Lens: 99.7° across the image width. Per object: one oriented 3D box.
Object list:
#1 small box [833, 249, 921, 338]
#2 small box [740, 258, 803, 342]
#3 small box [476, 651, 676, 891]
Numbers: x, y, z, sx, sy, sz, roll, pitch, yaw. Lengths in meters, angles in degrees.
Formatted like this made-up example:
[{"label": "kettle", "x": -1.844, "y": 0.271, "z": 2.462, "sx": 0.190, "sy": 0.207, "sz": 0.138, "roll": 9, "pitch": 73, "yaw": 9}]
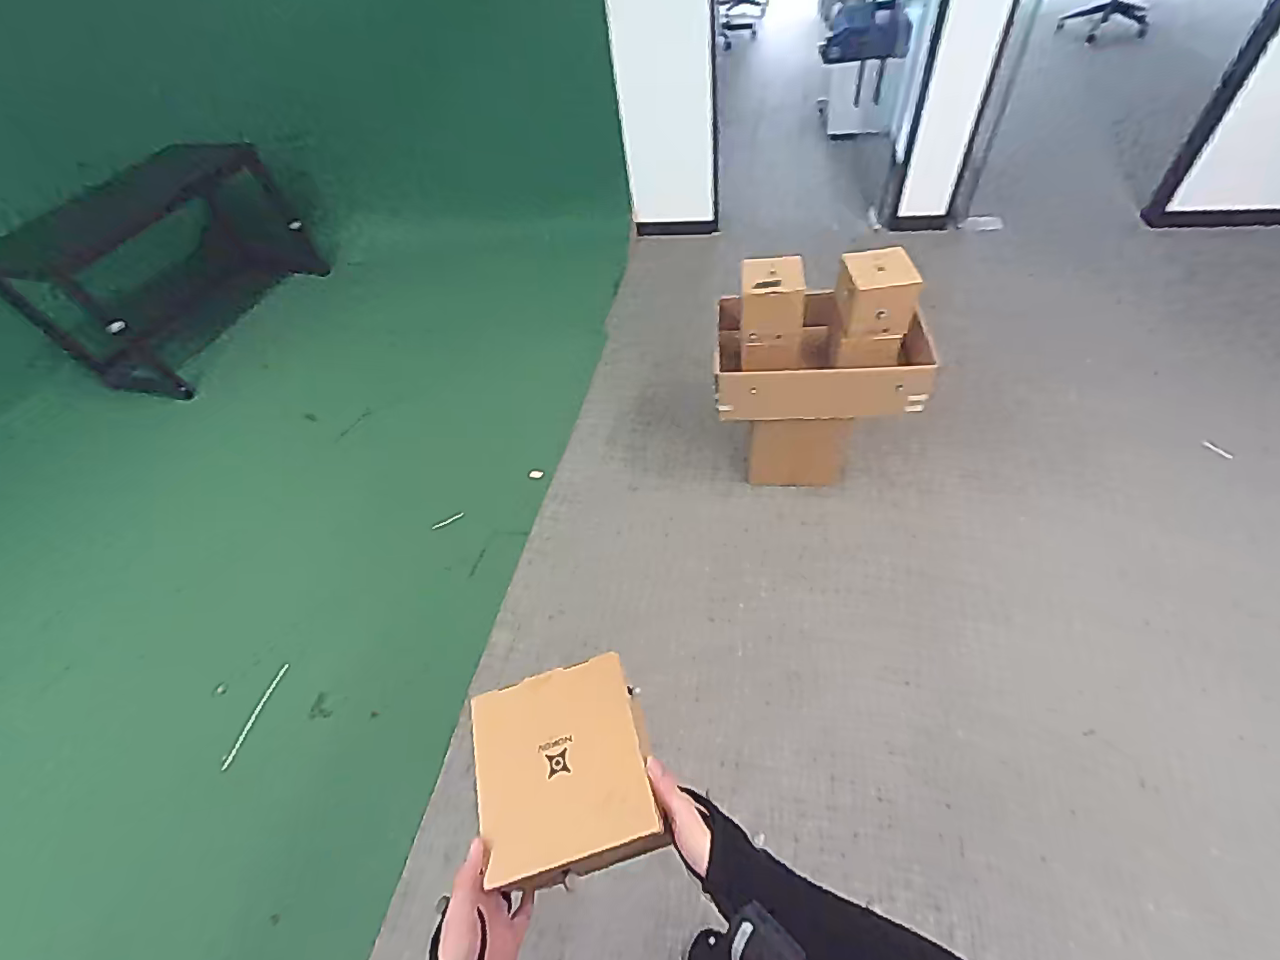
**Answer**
[{"label": "small box", "x": 0.652, "y": -0.513, "z": 1.510, "sx": 0.168, "sy": 0.176, "sz": 0.179, "roll": -5, "pitch": 52, "yaw": 4}, {"label": "small box", "x": 0.374, "y": -0.511, "z": 1.553, "sx": 0.168, "sy": 0.176, "sz": 0.179, "roll": 1, "pitch": 51, "yaw": 10}, {"label": "small box", "x": -0.065, "y": 0.316, "z": 0.586, "sx": 0.168, "sy": 0.176, "sz": 0.179, "roll": -16, "pitch": 51, "yaw": -3}]
